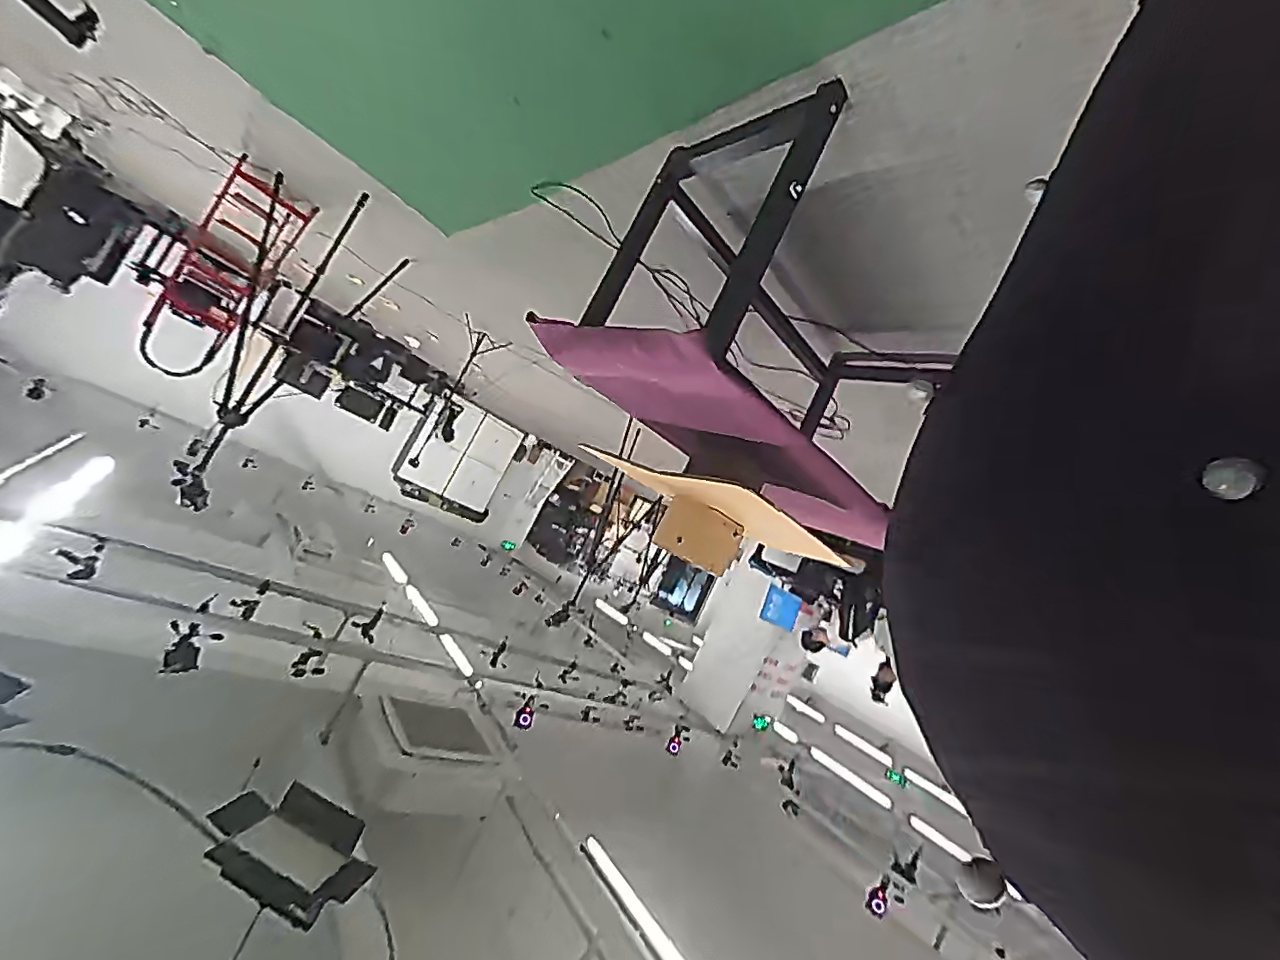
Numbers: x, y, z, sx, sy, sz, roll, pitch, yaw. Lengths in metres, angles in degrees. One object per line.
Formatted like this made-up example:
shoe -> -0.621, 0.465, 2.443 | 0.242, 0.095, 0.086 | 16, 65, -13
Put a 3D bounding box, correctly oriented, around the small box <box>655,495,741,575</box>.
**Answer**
small box -> 0.184, 0.162, 1.634 | 0.168, 0.176, 0.179 | 32, 174, -41
